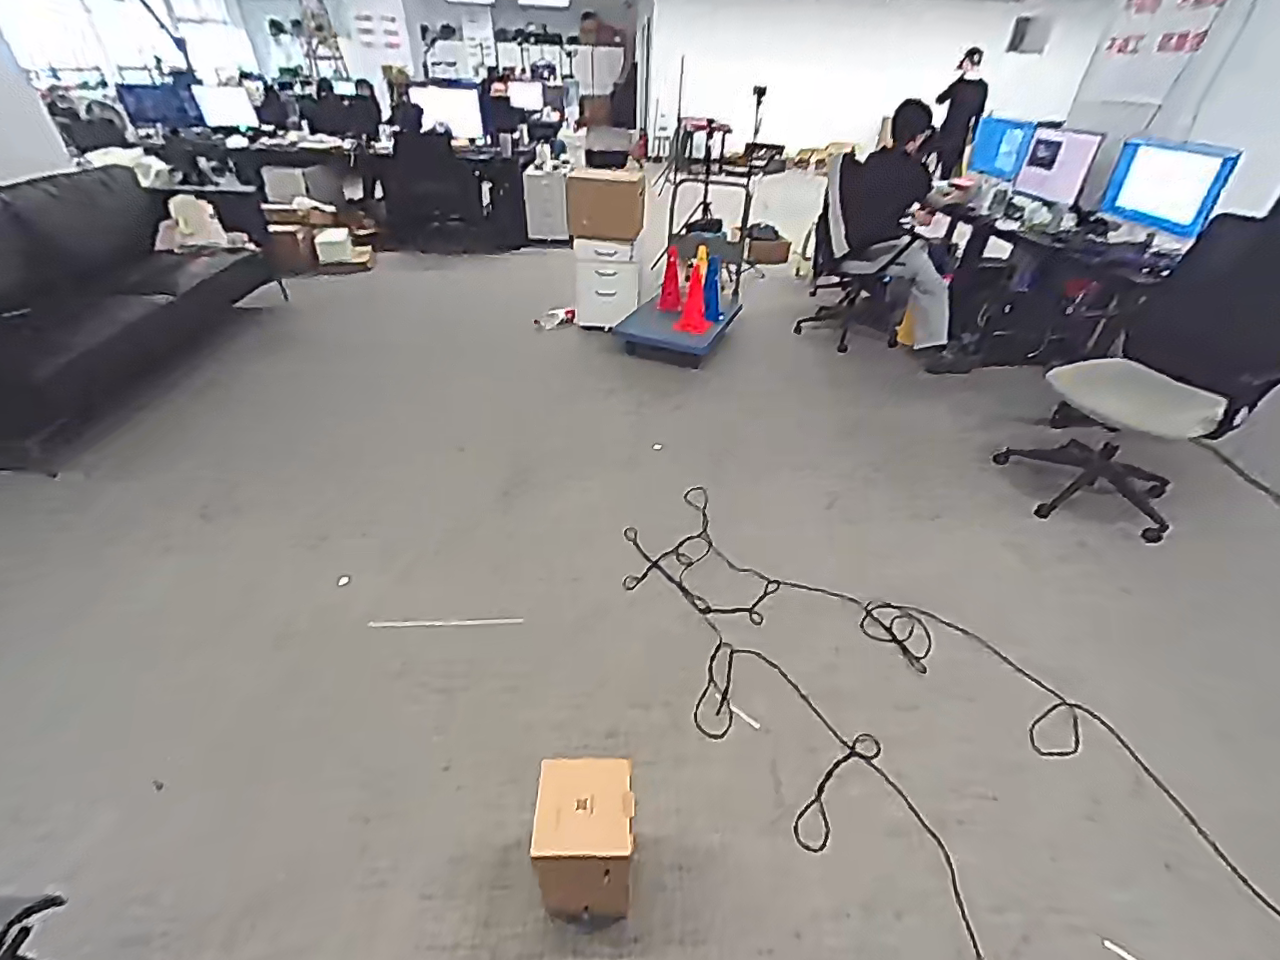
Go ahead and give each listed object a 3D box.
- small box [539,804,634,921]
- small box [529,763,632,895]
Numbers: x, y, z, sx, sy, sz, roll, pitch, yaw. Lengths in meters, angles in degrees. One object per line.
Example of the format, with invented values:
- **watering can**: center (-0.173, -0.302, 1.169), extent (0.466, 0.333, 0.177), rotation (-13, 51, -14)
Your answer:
- **small box**: center (-0.107, 0.788, 1.125), extent (0.179, 0.176, 0.168), rotation (4, 35, 0)
- **small box**: center (-0.104, 0.661, 1.025), extent (0.179, 0.176, 0.168), rotation (0, 36, -1)
